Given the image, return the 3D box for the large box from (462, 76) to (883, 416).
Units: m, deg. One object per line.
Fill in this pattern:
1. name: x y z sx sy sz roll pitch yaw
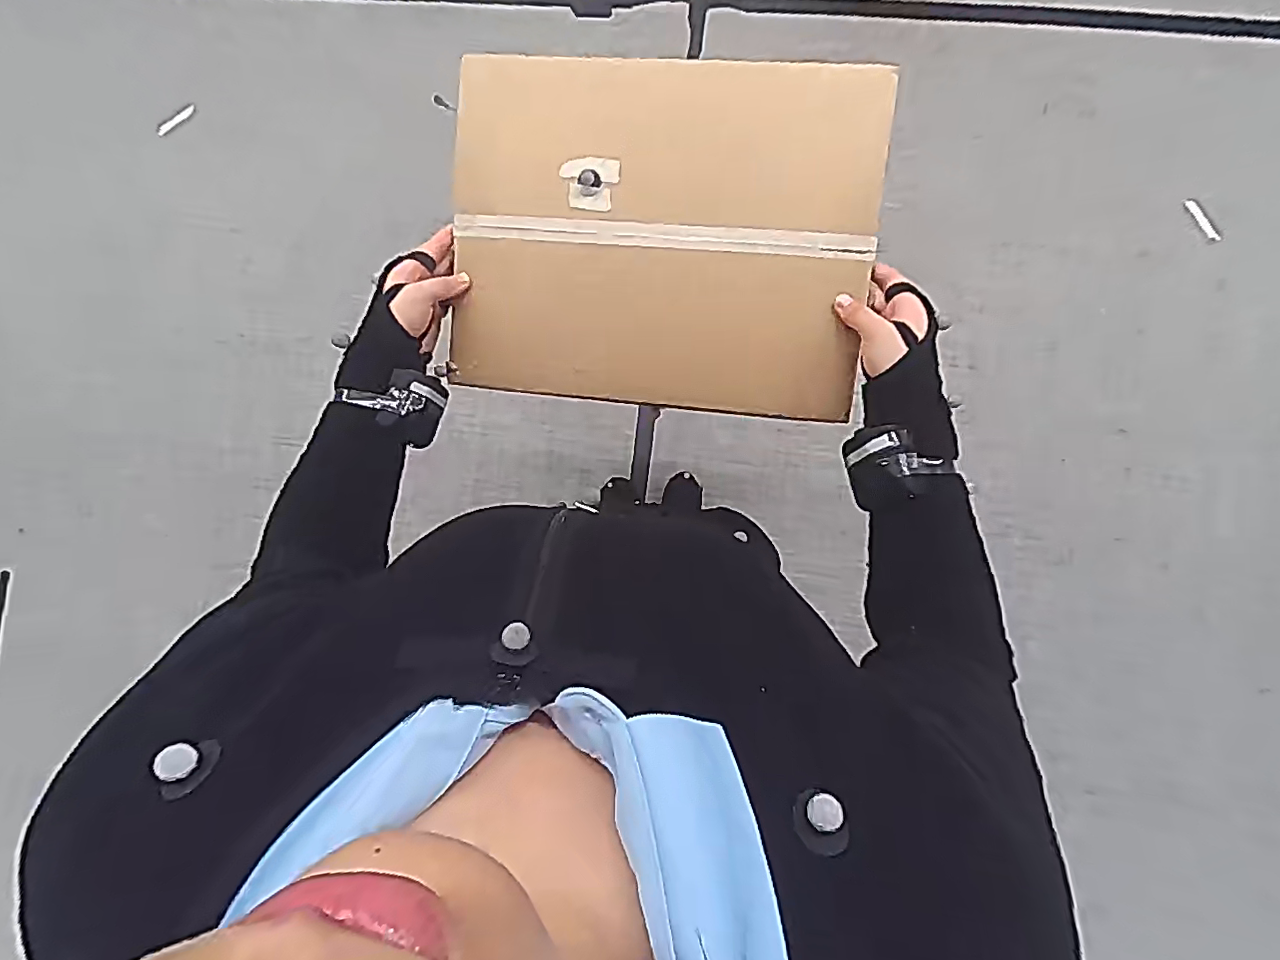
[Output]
1. large box: 0.038 -0.249 0.679 0.408 0.320 0.320 6 96 7
